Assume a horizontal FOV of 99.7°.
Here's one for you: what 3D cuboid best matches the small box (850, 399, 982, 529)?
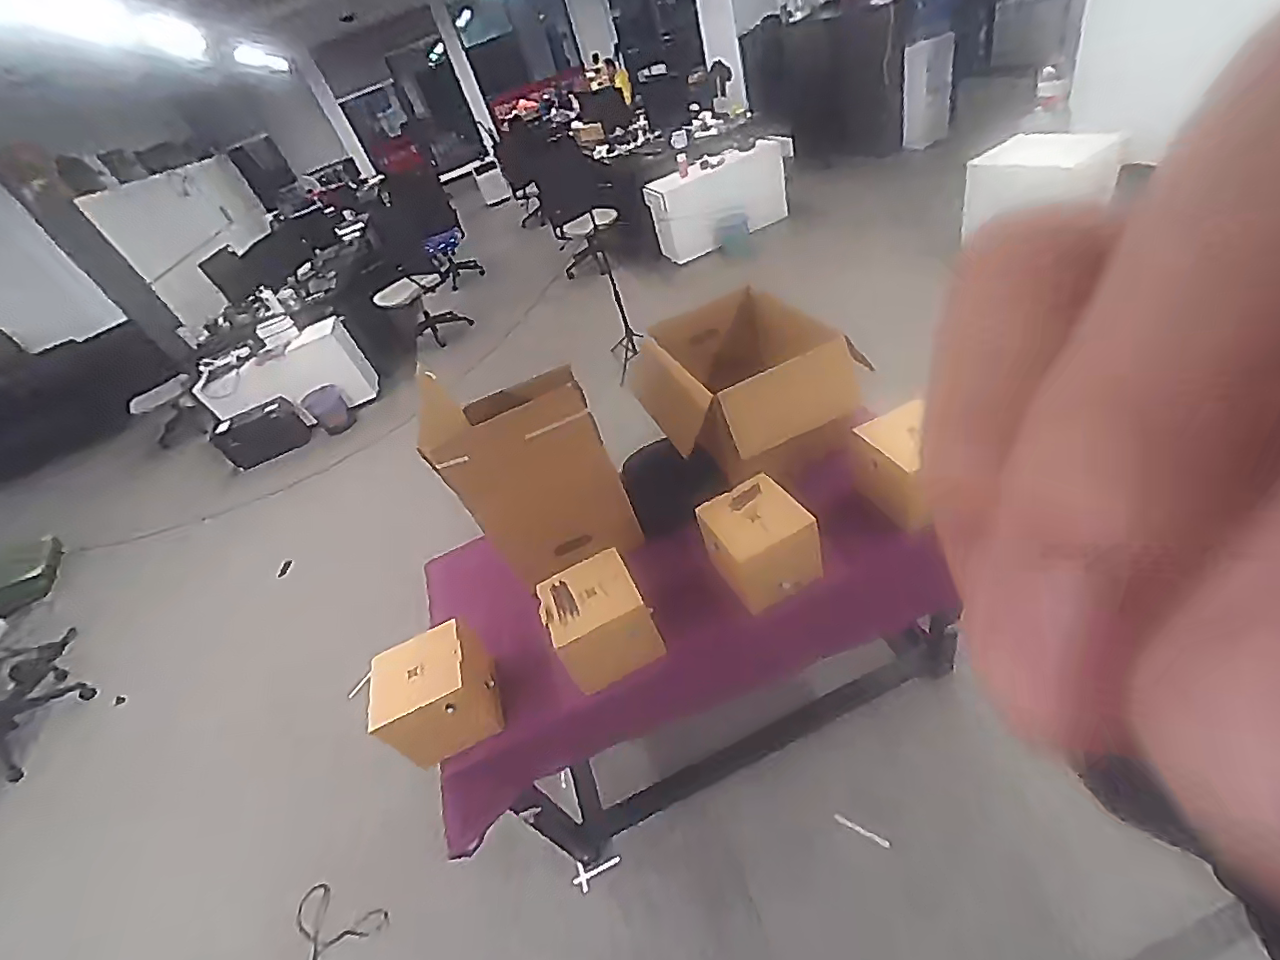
[{"bbox_3d":[0.556,-0.032,1.107,0.168,0.176,0.179,-26,39,-3],"label":"small box"}]

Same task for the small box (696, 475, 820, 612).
[{"bbox_3d":[0.235,0.127,1.076,0.168,0.176,0.179,-29,40,-7],"label":"small box"}]

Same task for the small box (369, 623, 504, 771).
[{"bbox_3d":[-0.383,0.416,1.031,0.179,0.176,0.168,-25,39,-6],"label":"small box"}]
